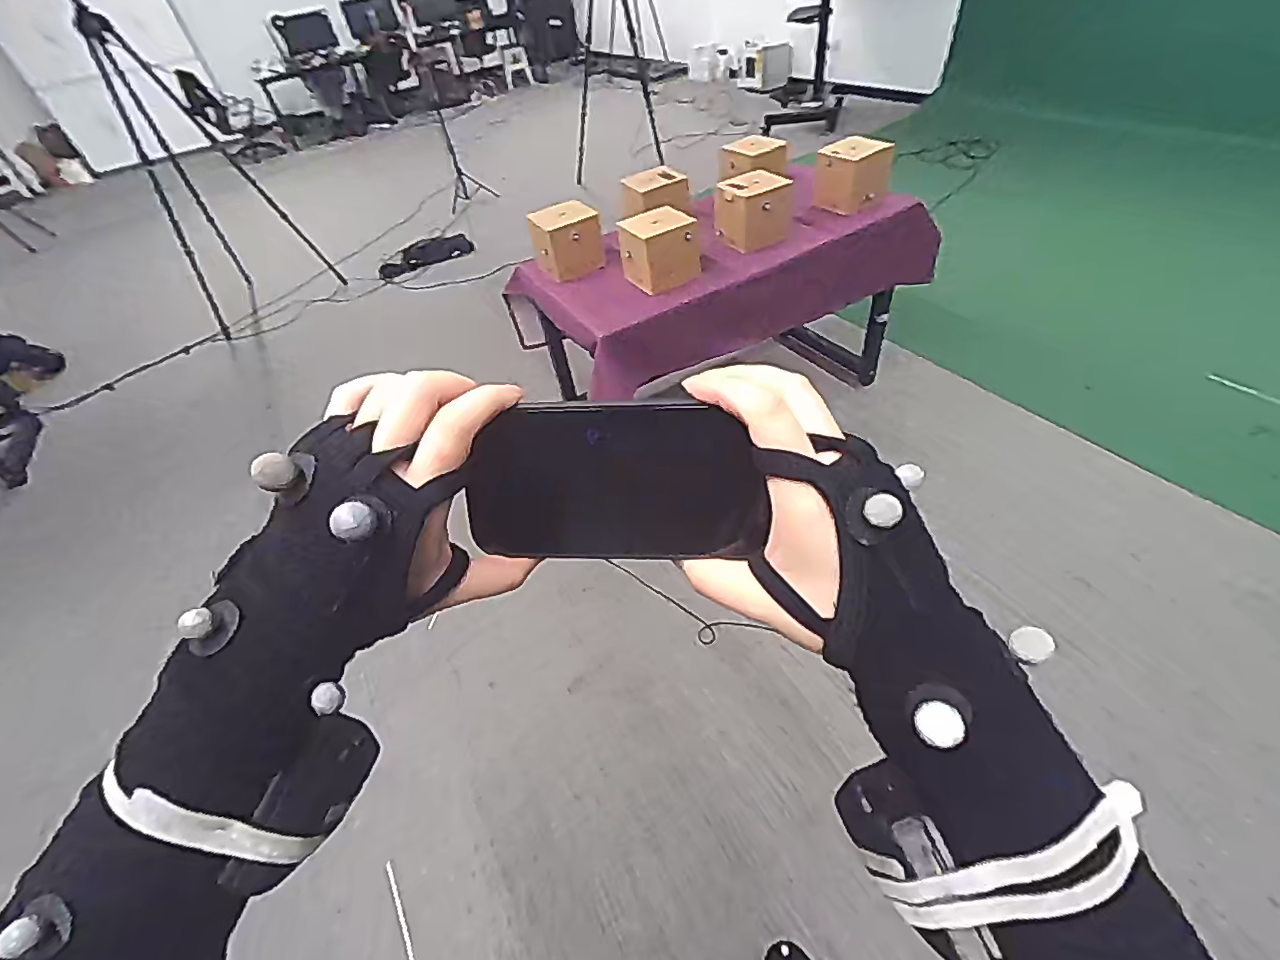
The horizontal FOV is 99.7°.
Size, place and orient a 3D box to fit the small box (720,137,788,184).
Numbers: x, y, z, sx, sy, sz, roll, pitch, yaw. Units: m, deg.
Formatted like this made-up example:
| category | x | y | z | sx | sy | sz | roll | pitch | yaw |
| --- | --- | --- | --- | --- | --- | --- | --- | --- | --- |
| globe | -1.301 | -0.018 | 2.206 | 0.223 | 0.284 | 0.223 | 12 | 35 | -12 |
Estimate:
| category | x | y | z | sx | sy | sz | roll | pitch | yaw |
| --- | --- | --- | --- | --- | --- | --- | --- | --- | --- |
| small box | 0.401 | -1.096 | 1.925 | 0.168 | 0.176 | 0.179 | -30 | 49 | -17 |

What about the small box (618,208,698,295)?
| category | x | y | z | sx | sy | sz | roll | pitch | yaw |
| --- | --- | --- | --- | --- | --- | --- | --- | --- | --- |
| small box | 0.058 | -0.663 | 1.574 | 0.179 | 0.176 | 0.168 | -26 | 47 | -16 |

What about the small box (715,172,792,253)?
| category | x | y | z | sx | sy | sz | roll | pitch | yaw |
| --- | --- | --- | --- | --- | --- | --- | --- | --- | --- |
| small box | 0.350 | -0.830 | 1.681 | 0.179 | 0.176 | 0.168 | -25 | 47 | -15 |

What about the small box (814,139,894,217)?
| category | x | y | z | sx | sy | sz | roll | pitch | yaw |
| --- | --- | --- | --- | --- | --- | --- | --- | --- | --- |
| small box | 0.693 | -0.992 | 1.774 | 0.179 | 0.176 | 0.168 | -28 | 48 | -17 |
